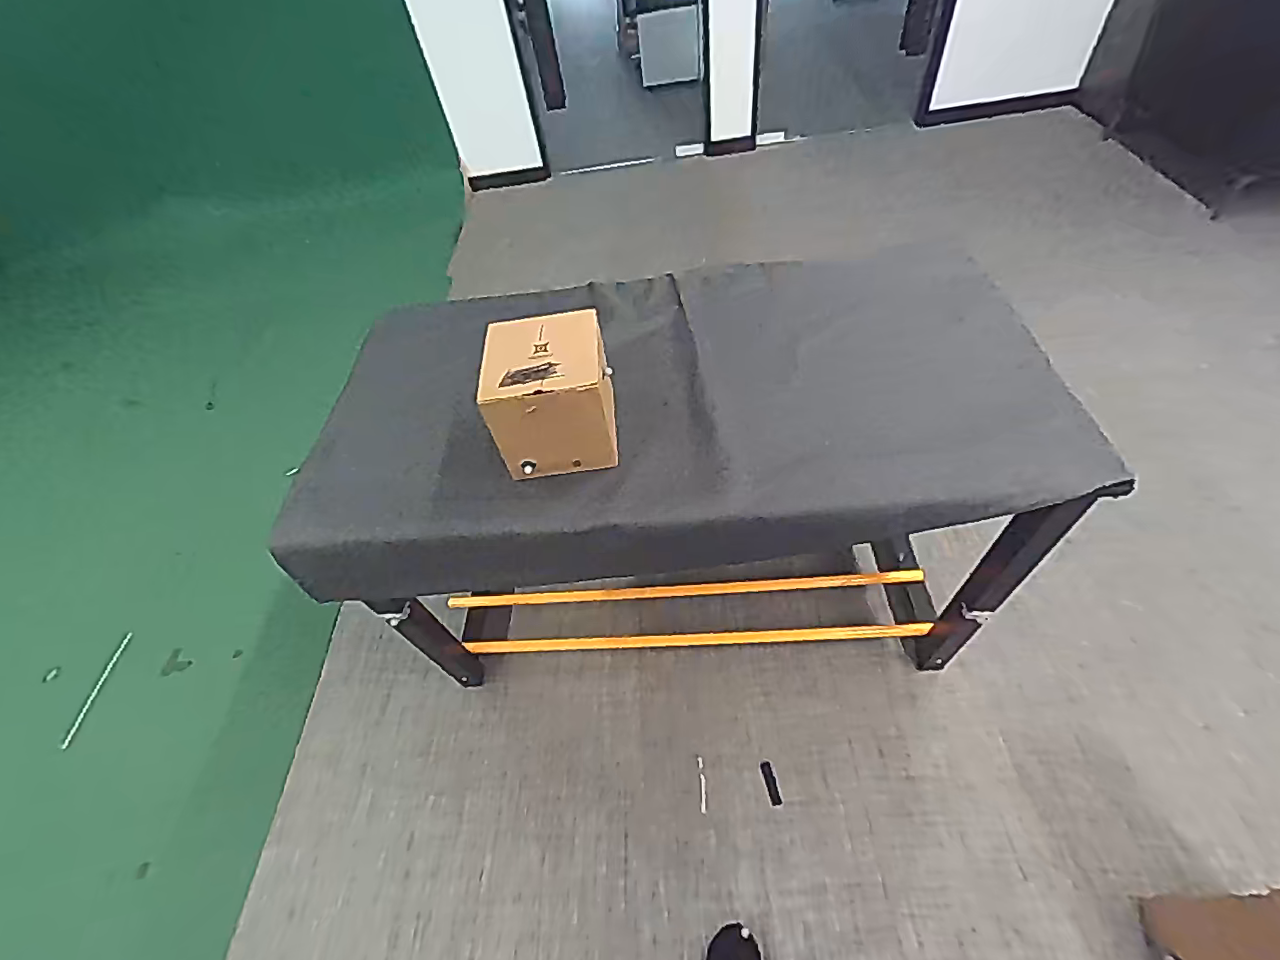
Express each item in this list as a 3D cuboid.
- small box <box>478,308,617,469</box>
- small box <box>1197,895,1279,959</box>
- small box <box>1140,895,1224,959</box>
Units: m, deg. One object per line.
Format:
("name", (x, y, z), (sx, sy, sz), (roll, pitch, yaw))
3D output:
("small box", (-0.129, -0.130, 0.819), (0.168, 0.176, 0.179), (-7, 50, 2))
("small box", (0.954, 0.681, 0.742), (0.168, 0.176, 0.179), (-4, 51, 4))
("small box", (0.977, 0.783, 0.867), (0.168, 0.176, 0.179), (-3, 53, 6))
